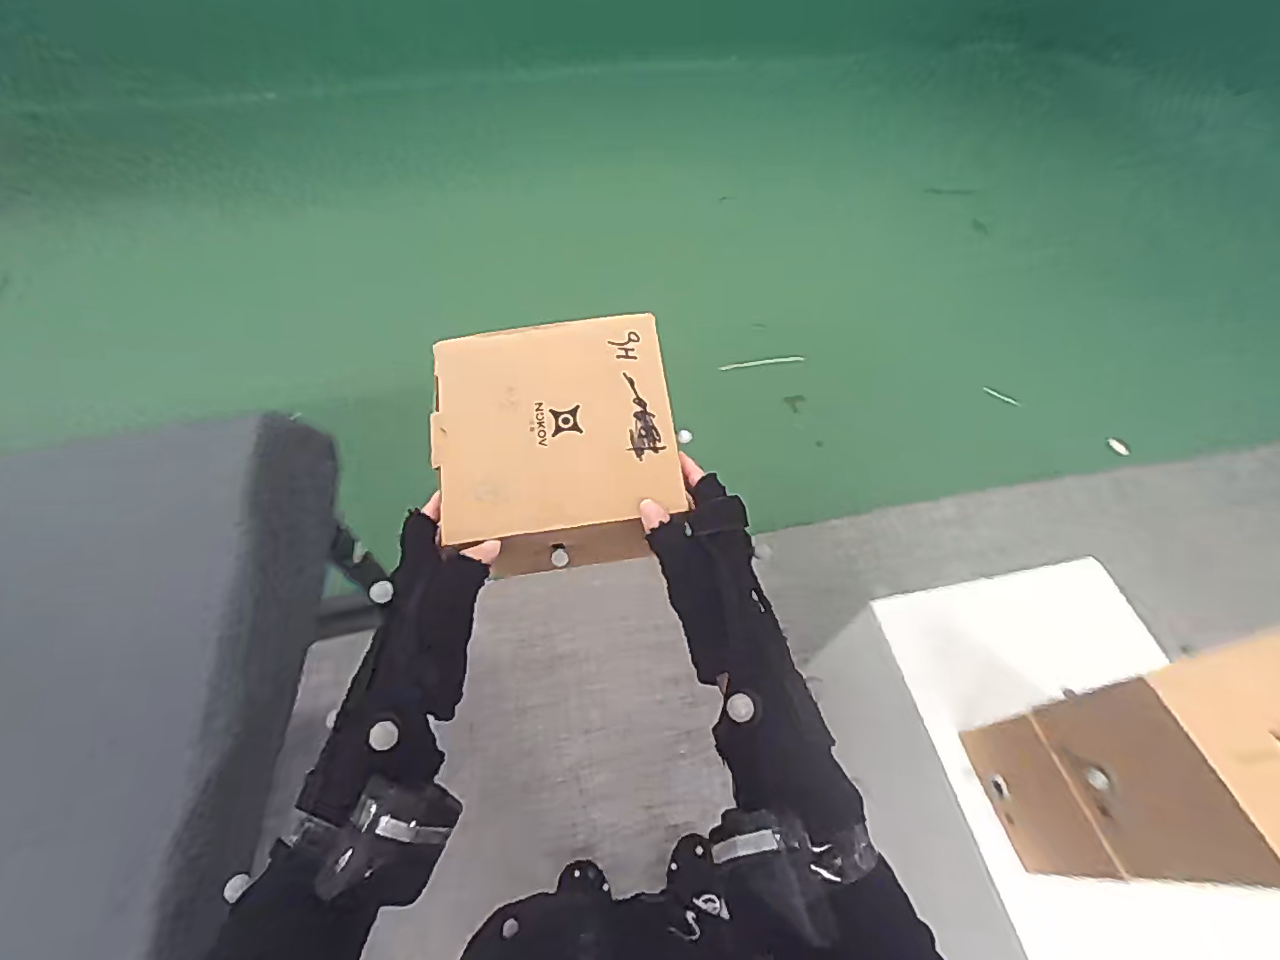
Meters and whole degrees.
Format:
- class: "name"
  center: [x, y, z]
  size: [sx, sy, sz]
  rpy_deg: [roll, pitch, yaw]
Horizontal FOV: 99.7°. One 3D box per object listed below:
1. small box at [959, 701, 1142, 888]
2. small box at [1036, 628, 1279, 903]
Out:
- class: "small box"
  center: [0.528, 0.352, 0.636]
  size: [0.179, 0.176, 0.168]
  rpy_deg: [-13, 56, -7]
- class: "small box"
  center: [0.532, 0.258, 0.501]
  size: [0.179, 0.176, 0.168]
  rpy_deg: [-14, 57, -11]
